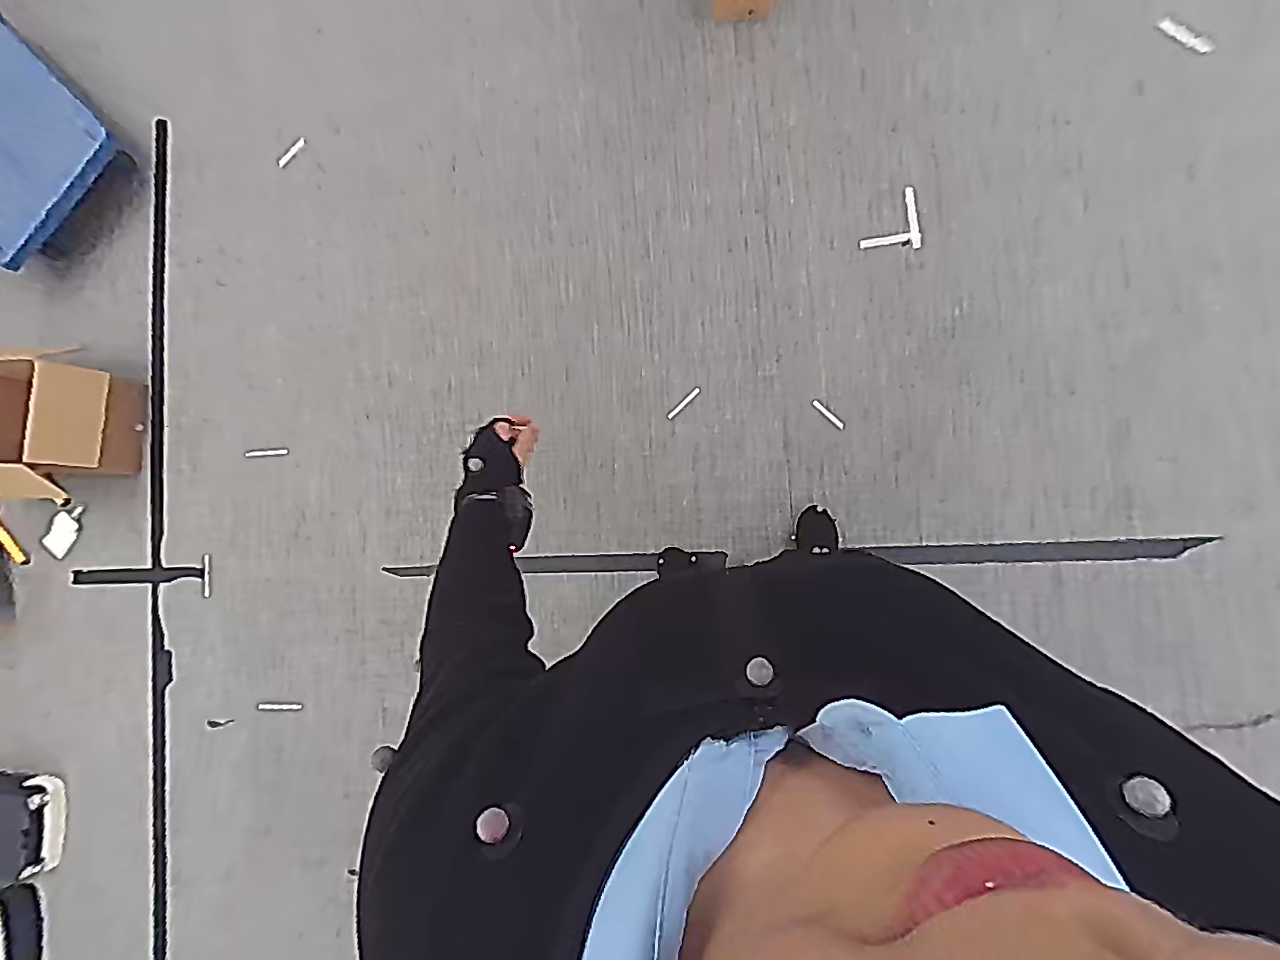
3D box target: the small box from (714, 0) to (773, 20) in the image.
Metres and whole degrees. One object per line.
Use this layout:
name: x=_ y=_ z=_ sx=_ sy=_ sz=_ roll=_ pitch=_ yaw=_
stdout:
small box: x=0.290 y=-1.440 z=1.517 sx=0.168 sy=0.176 sz=0.179 roll=-1 pitch=86 yaw=9
